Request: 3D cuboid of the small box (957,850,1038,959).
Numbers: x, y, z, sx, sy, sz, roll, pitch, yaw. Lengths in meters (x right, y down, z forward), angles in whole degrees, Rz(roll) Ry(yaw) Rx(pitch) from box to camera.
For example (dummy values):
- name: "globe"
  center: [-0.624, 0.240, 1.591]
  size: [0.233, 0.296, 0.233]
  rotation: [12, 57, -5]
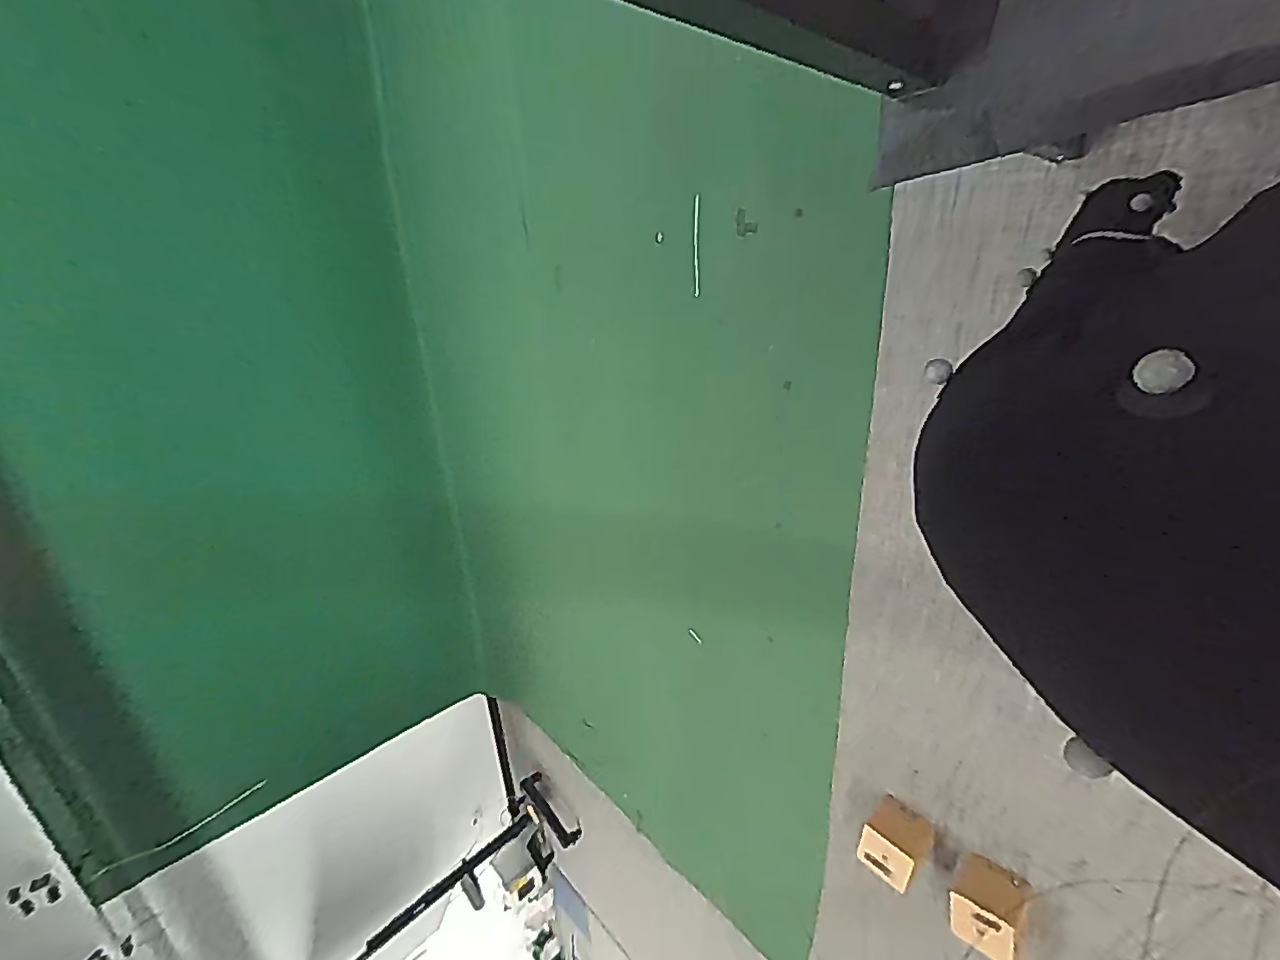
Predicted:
- name: "small box"
  center: [1.070, 1.270, 1.619]
  size: [0.168, 0.176, 0.179]
  rotation: [9, 114, 48]
